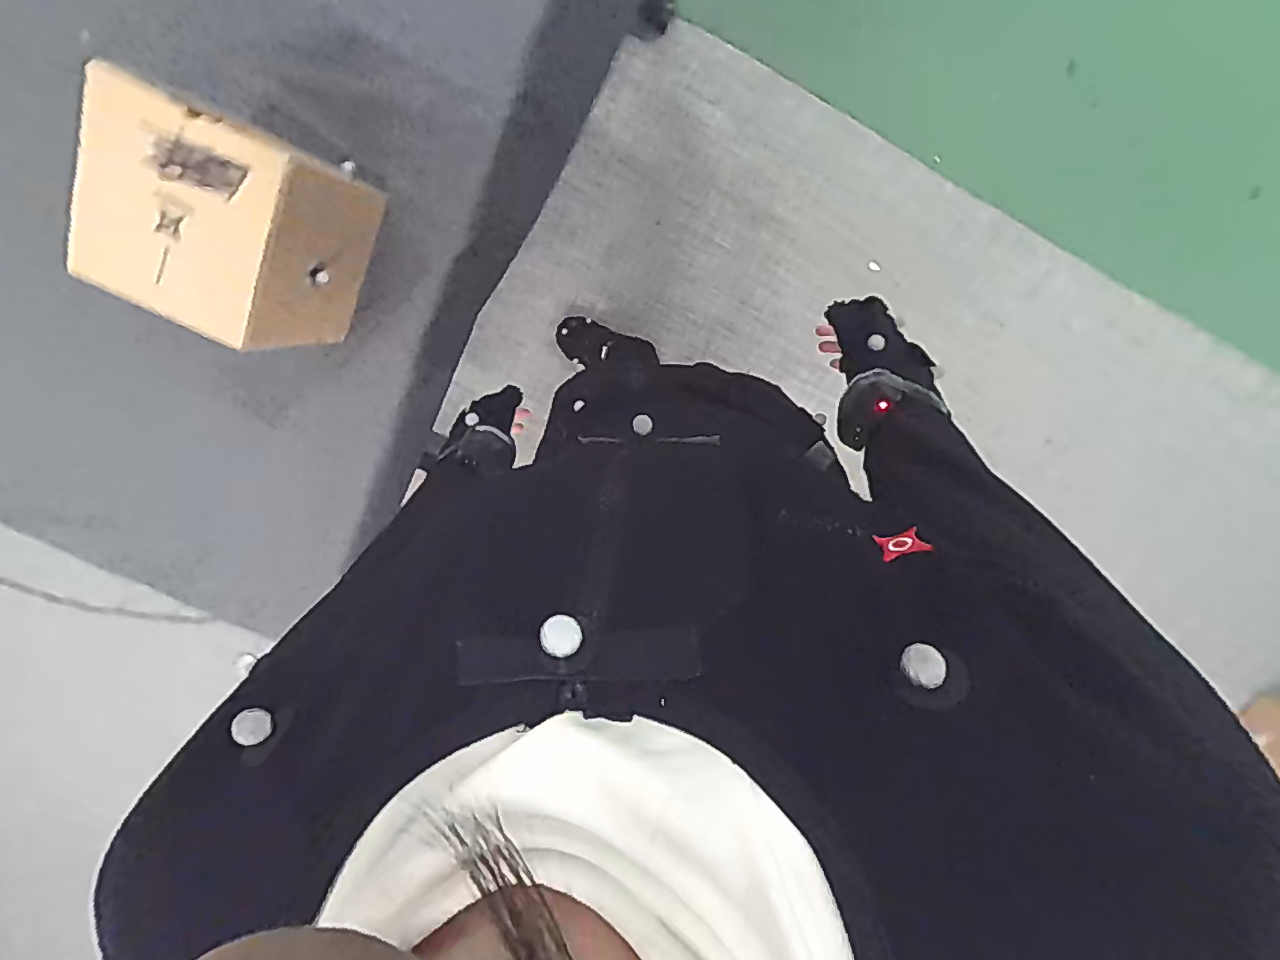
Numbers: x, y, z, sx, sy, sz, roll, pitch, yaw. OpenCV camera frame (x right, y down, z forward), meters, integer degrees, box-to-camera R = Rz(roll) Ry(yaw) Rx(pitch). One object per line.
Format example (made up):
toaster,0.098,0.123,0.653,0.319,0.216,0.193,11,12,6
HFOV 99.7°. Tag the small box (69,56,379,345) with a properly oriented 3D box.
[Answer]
small box,-0.390,-0.255,0.536,0.168,0.176,0.179,25,108,-5
